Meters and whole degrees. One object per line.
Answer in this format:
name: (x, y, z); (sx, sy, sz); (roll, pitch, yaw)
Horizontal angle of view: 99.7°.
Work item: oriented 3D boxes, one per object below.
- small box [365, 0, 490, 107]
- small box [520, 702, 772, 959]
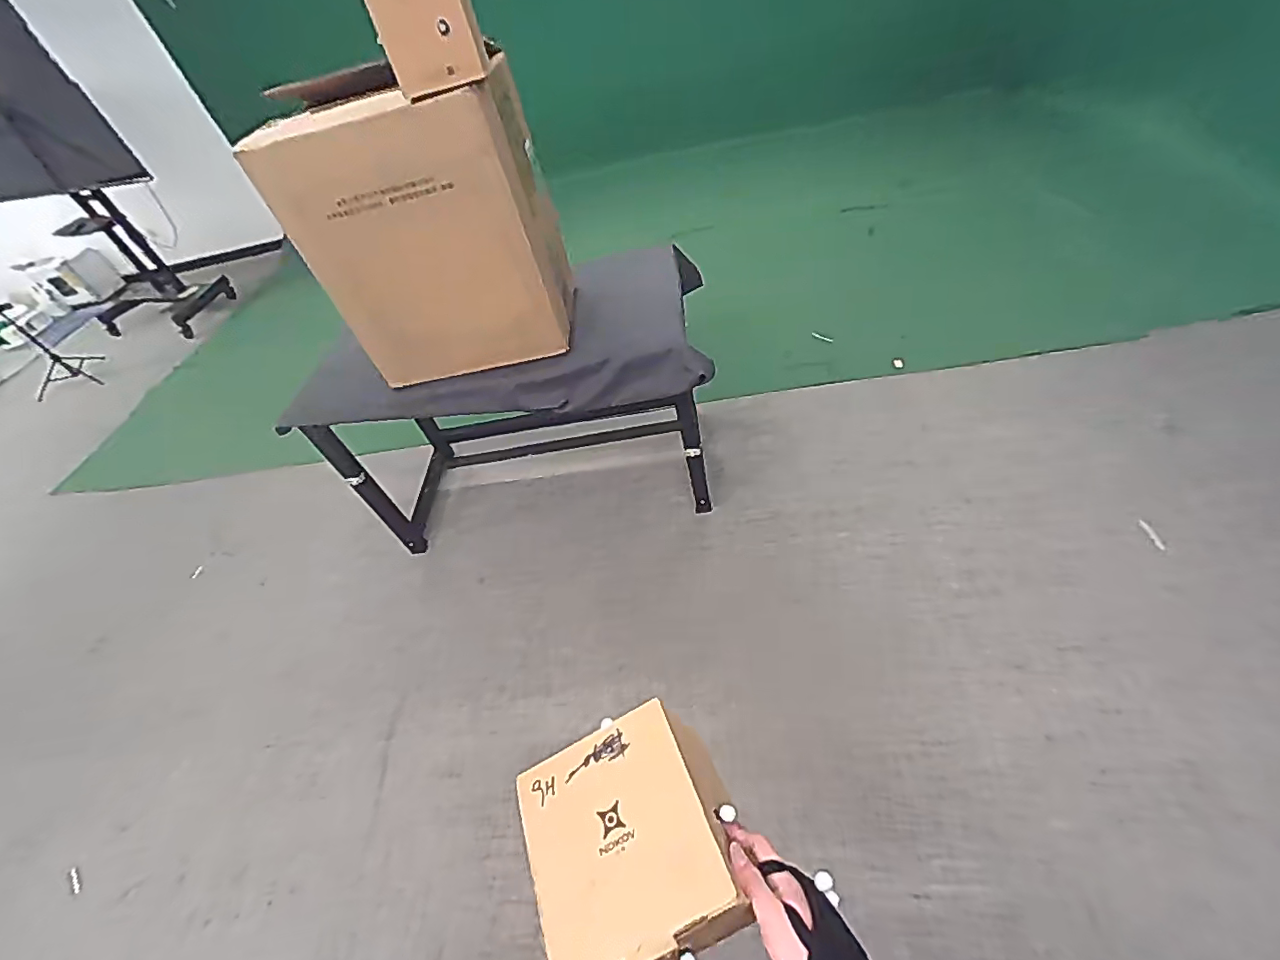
small box: (-0.404, -0.859, 1.063); (0.168, 0.176, 0.179); (-14, 45, 1)
small box: (0.009, 0.357, 0.533); (0.168, 0.176, 0.179); (-30, 47, 1)
